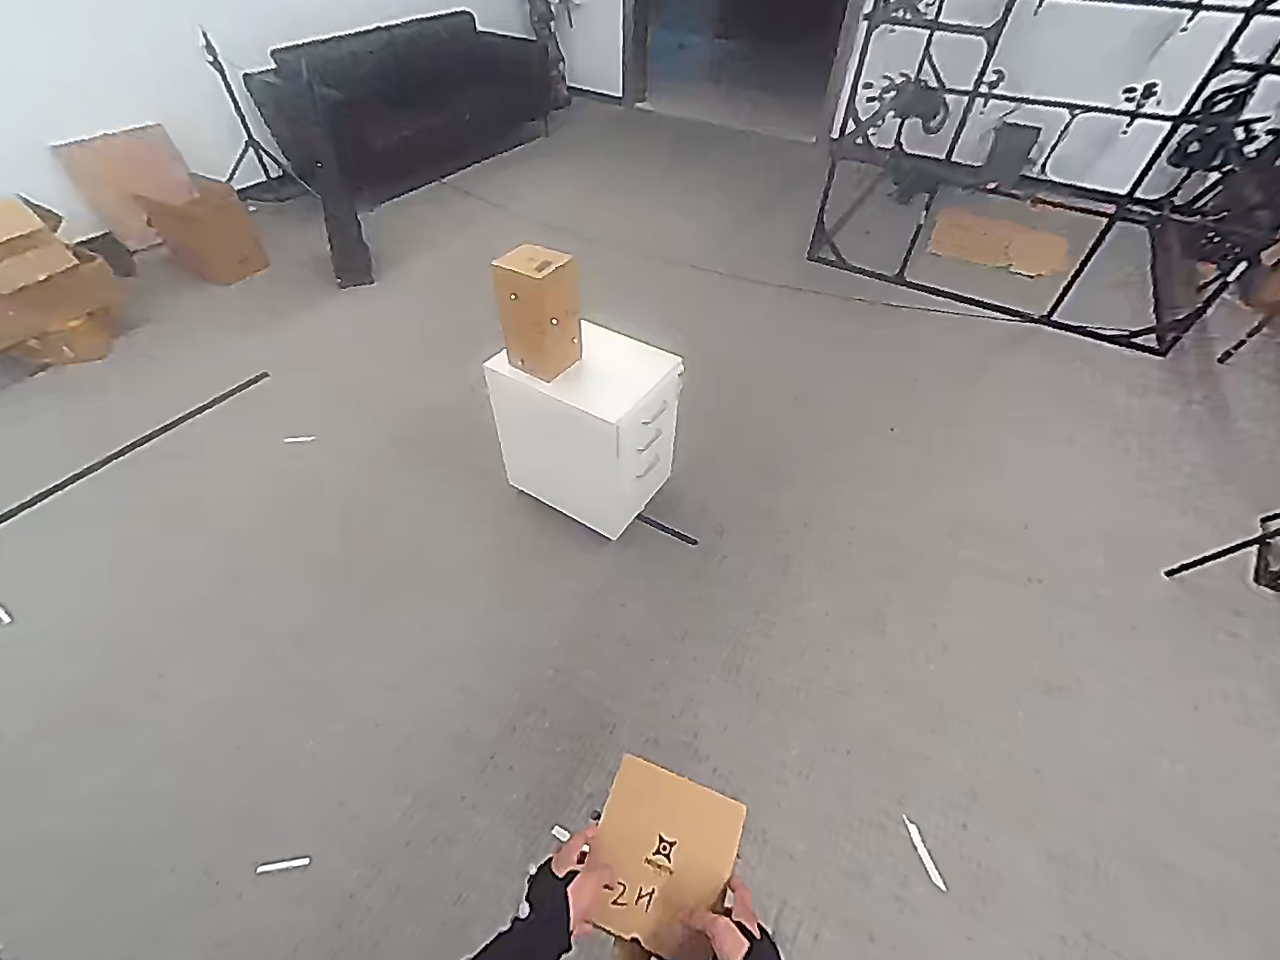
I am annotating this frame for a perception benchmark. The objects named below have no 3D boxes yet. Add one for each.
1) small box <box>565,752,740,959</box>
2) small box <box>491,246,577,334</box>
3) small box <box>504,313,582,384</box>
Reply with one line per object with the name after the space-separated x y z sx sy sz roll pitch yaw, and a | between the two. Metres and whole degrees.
0.015 0.484 0.698 0.168 0.176 0.179 18 57 10 | small box
-0.293 -0.540 1.548 0.179 0.176 0.168 23 49 20 | small box
-0.293 -0.426 1.666 0.168 0.176 0.179 27 51 21 | small box
